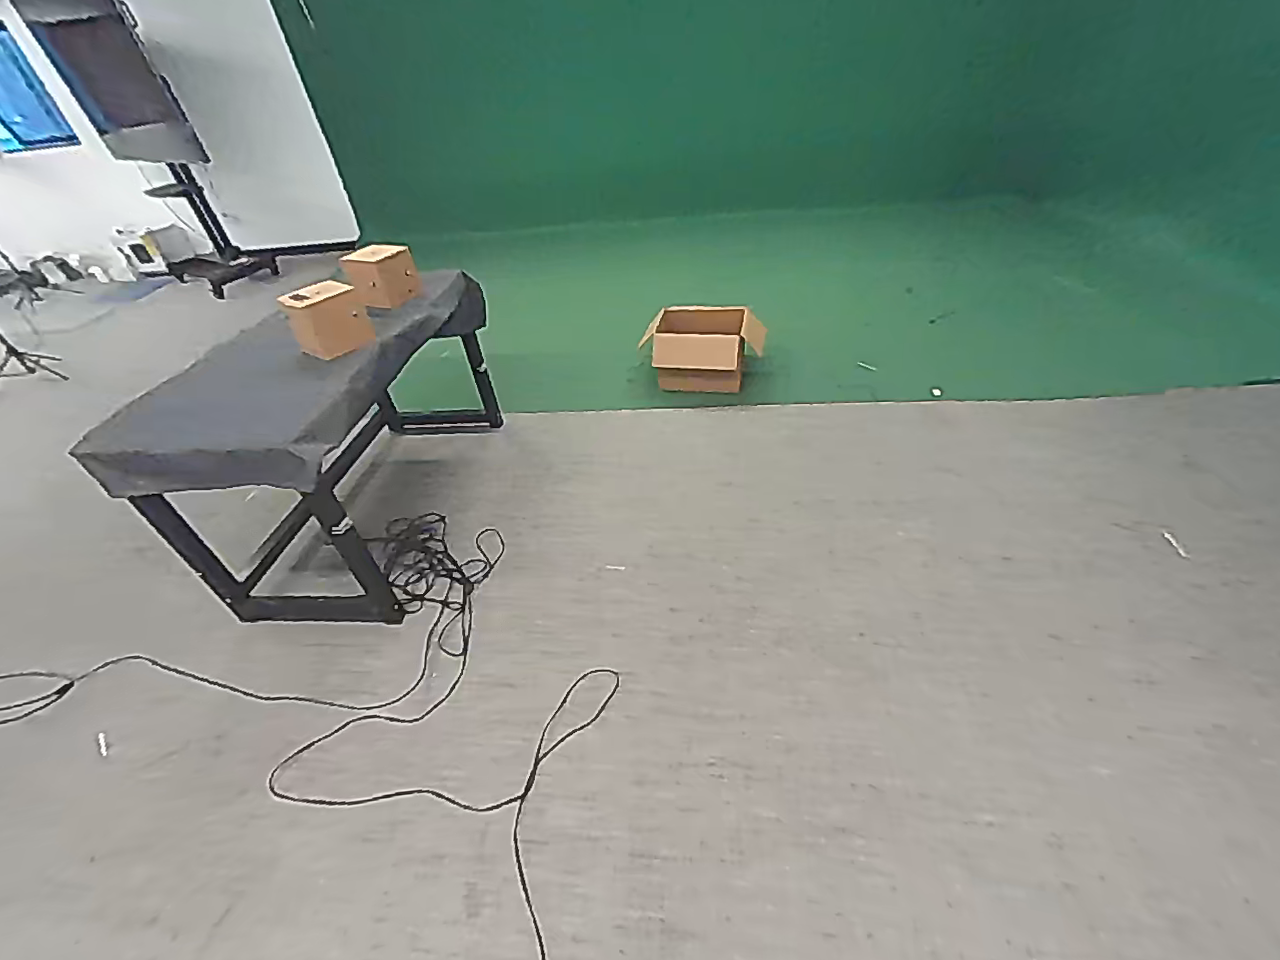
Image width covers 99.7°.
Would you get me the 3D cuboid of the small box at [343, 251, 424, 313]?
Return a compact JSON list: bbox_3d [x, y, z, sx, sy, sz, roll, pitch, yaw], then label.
[{"bbox_3d":[-0.922,-0.715,1.959,0.179,0.176,0.168,11,41,23],"label":"small box"}]
